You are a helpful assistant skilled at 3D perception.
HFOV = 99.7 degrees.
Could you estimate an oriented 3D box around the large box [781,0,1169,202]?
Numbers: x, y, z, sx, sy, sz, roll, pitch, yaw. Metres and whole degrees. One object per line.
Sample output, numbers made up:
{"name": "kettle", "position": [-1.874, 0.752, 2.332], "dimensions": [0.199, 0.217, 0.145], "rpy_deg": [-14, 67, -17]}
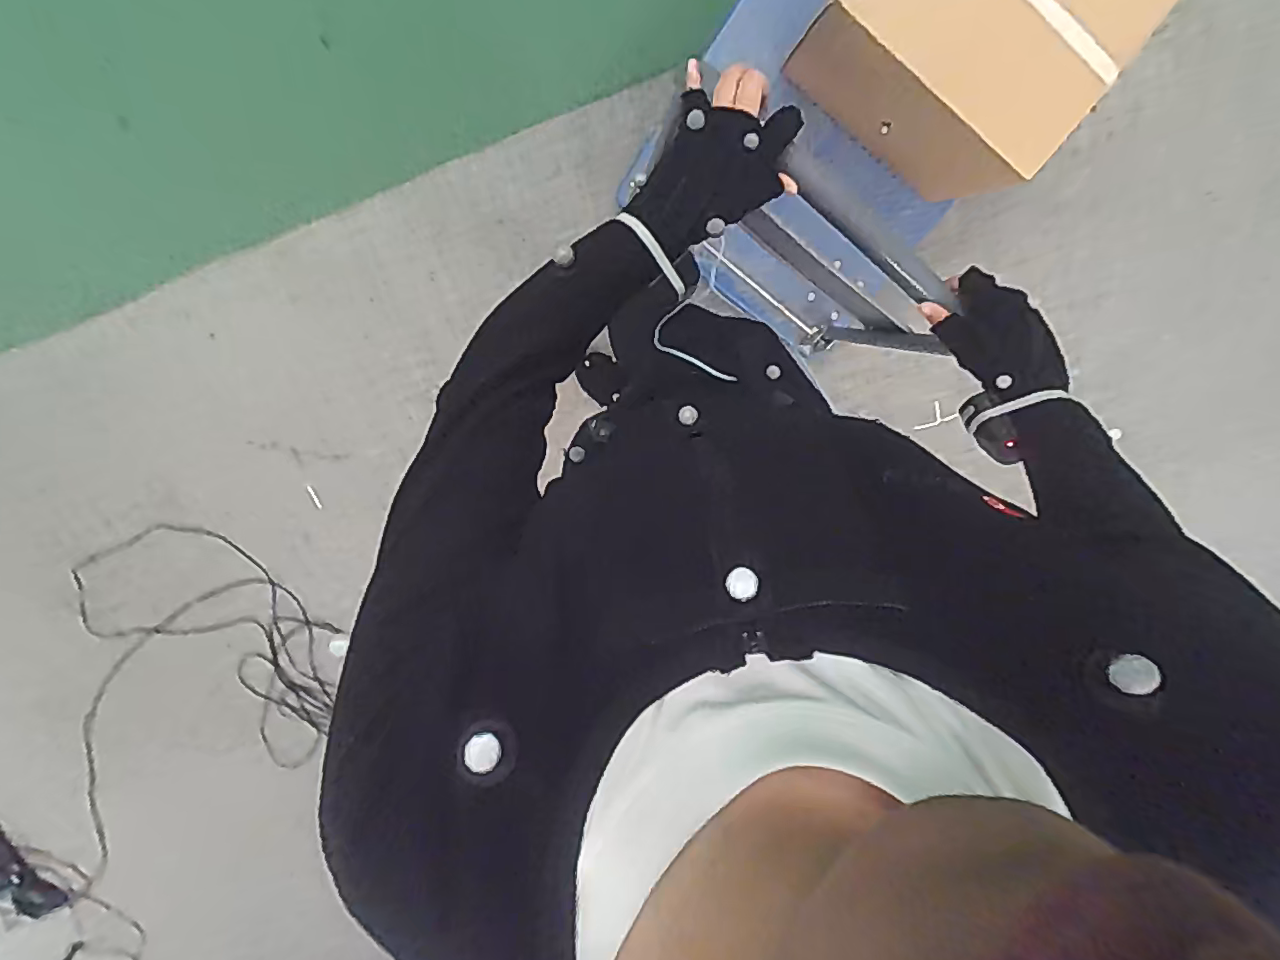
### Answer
{"name": "large box", "position": [0.512, -0.733, 0.896], "dimensions": [0.408, 0.320, 0.320], "rpy_deg": [33, 107, -11]}
